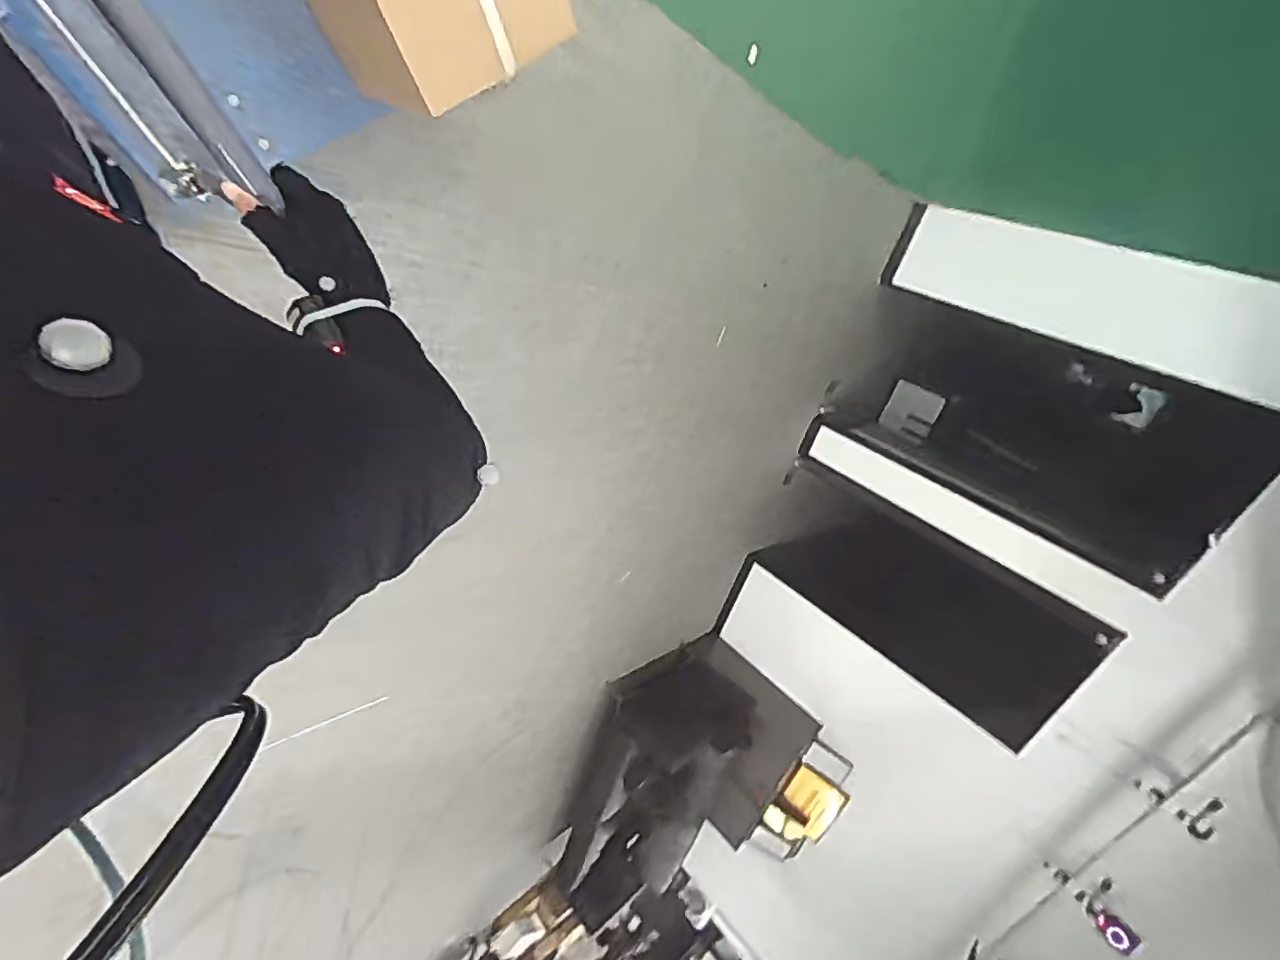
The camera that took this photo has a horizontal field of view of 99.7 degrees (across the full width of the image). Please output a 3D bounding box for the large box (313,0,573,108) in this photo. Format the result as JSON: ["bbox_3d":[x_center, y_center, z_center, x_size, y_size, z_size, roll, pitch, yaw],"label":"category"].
[{"bbox_3d":[-0.368,-0.872,0.823,0.320,0.320,0.408,-44,145,-15],"label":"large box"}]
